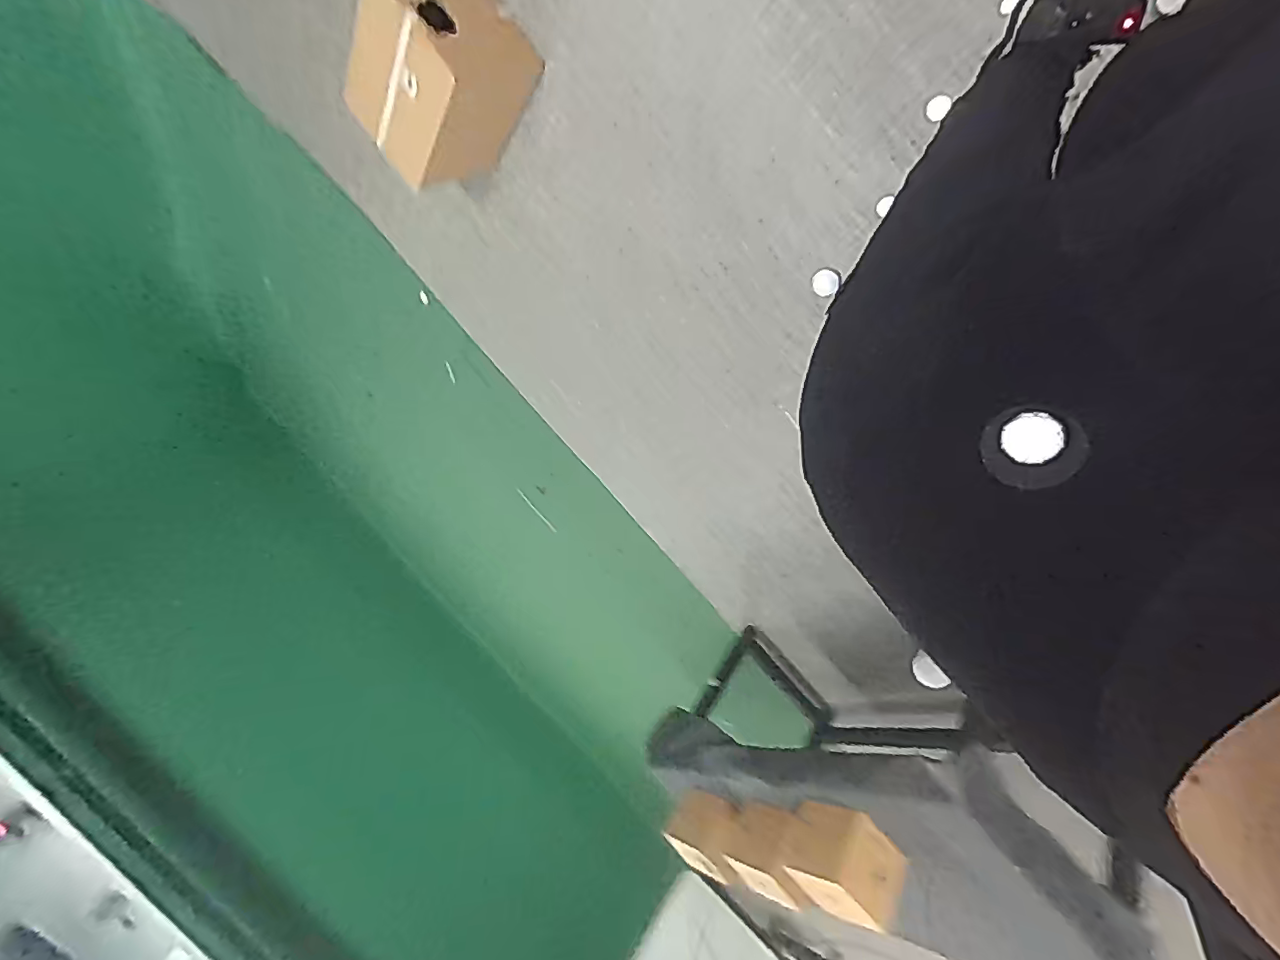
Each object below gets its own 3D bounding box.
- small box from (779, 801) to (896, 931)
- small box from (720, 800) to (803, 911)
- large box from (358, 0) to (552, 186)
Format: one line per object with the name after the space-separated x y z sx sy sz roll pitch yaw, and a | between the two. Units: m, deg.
0.465 0.881 1.255 0.168 0.176 0.179 49 144 -6 | small box
0.360 1.023 1.493 0.179 0.176 0.168 -20 110 50 | small box
-0.512 -1.105 1.484 0.320 0.320 0.408 53 142 -9 | large box
